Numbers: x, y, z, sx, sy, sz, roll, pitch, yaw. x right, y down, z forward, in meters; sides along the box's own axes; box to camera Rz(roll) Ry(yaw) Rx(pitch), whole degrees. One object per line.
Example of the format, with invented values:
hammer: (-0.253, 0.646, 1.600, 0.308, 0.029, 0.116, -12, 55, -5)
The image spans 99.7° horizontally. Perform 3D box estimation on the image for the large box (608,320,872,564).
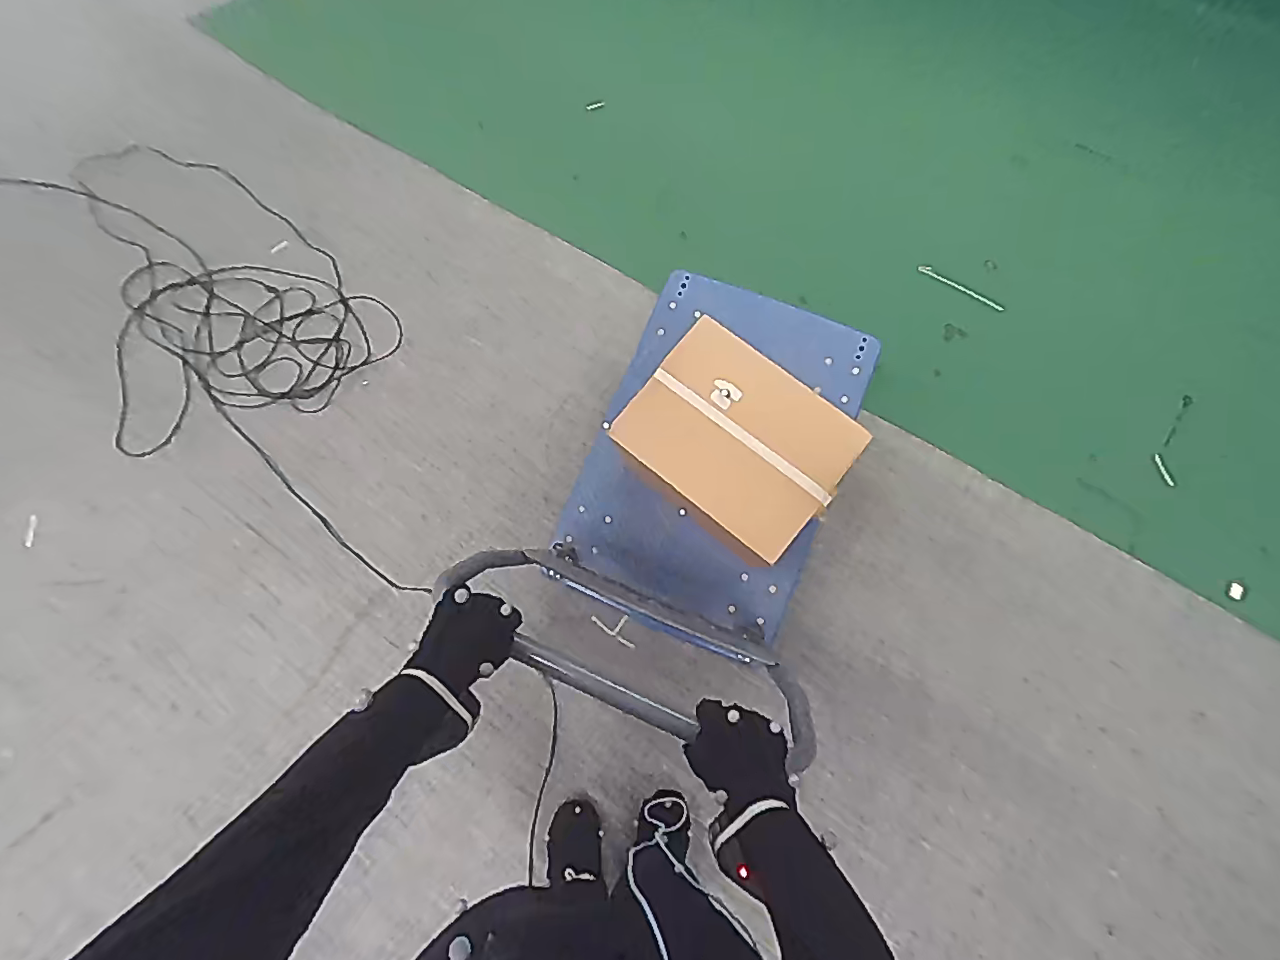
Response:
large box: (0.201, -0.058, 1.168, 0.408, 0.320, 0.320, 38, 85, 11)
